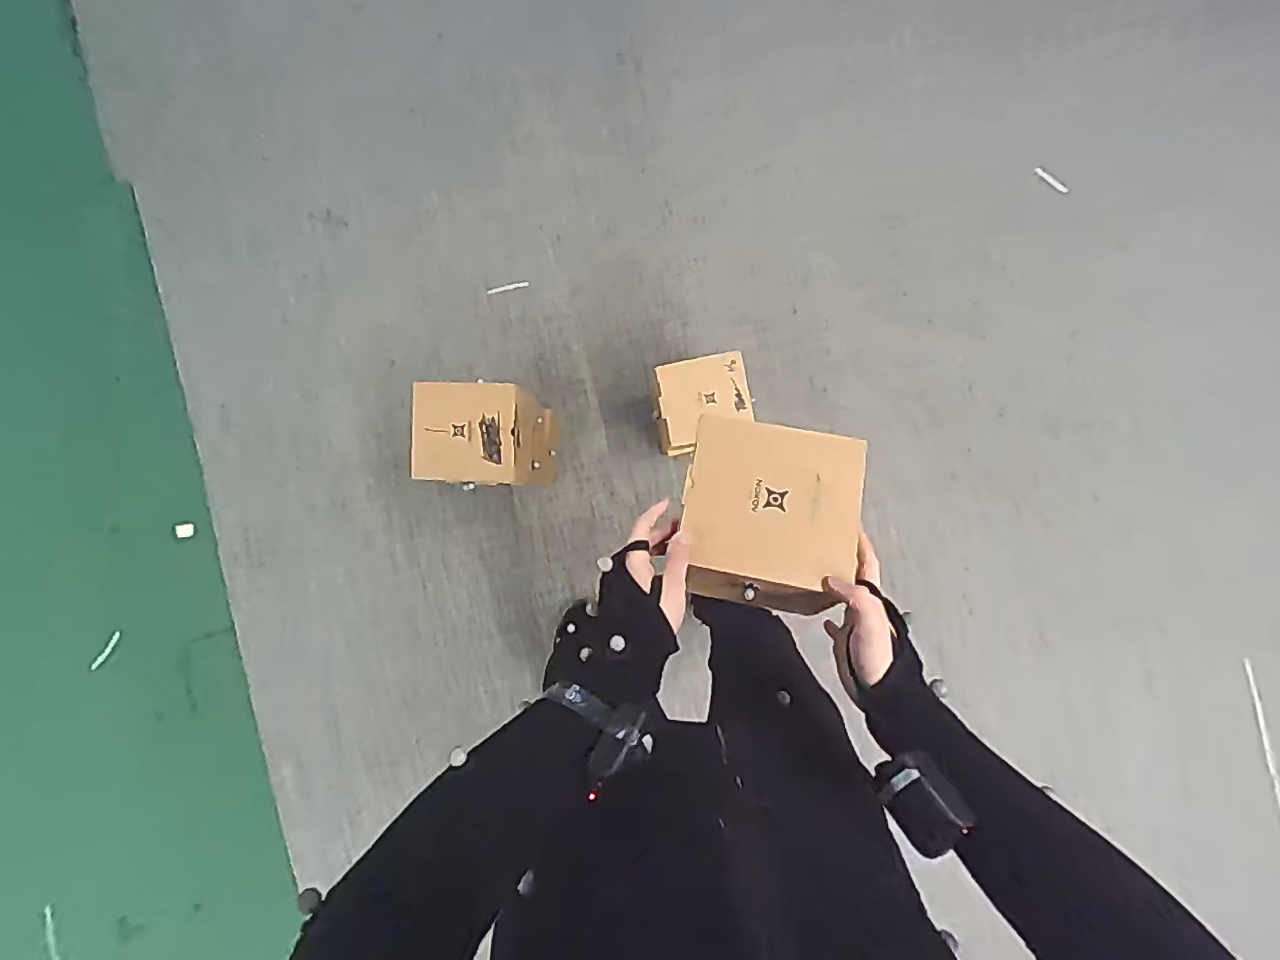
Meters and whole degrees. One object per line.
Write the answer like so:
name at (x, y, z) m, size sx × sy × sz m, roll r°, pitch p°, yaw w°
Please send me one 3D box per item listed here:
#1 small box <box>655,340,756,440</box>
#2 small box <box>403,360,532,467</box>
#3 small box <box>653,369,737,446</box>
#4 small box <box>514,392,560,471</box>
small box at (0.130, -0.179, 1.120) m, size 0.179 × 0.176 × 0.168 m, roll -9°, pitch 91°, yaw 2°
small box at (-0.295, -0.111, 0.960) m, size 0.179 × 0.176 × 0.168 m, roll 4°, pitch 91°, yaw 1°
small box at (0.127, -0.178, 1.285) m, size 0.168 × 0.176 × 0.179 m, roll -11°, pitch 91°, yaw 1°
small box at (-0.292, -0.121, 1.288) m, size 0.168 × 0.176 × 0.179 m, roll 10°, pitch 91°, yaw -1°
